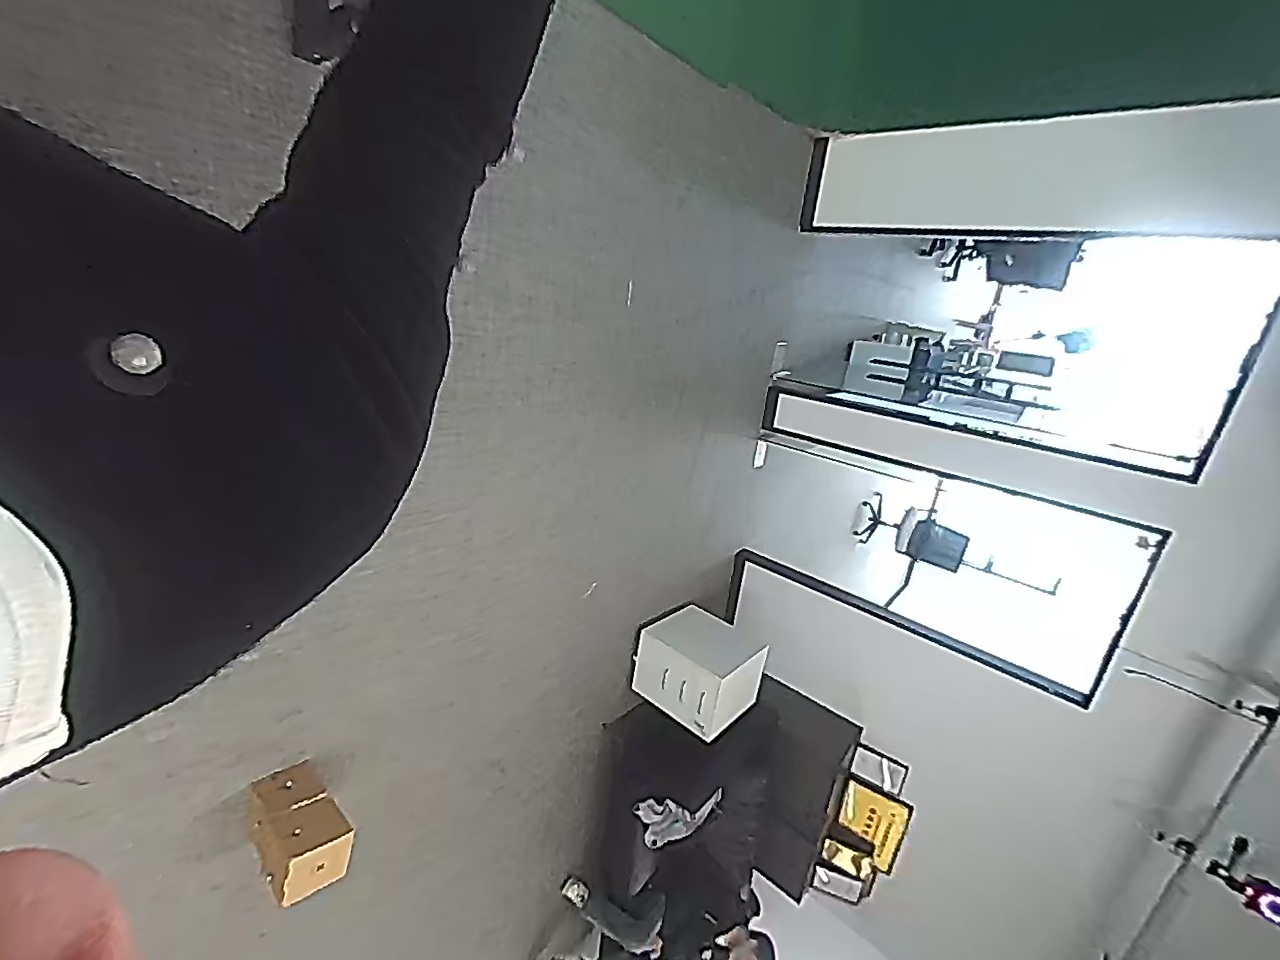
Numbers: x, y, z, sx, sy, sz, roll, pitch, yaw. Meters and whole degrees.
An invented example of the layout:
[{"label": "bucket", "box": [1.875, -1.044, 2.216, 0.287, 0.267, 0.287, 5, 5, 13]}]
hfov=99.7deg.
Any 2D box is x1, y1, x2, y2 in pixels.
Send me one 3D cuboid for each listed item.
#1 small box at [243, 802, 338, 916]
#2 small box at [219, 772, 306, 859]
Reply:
[{"label": "small box", "box": [-1.014, 1.082, 1.562, 0.179, 0.176, 0.168, 3, 107, -55]}, {"label": "small box", "box": [-1.132, 1.042, 1.655, 0.179, 0.176, 0.168, -41, 138, -36]}]
